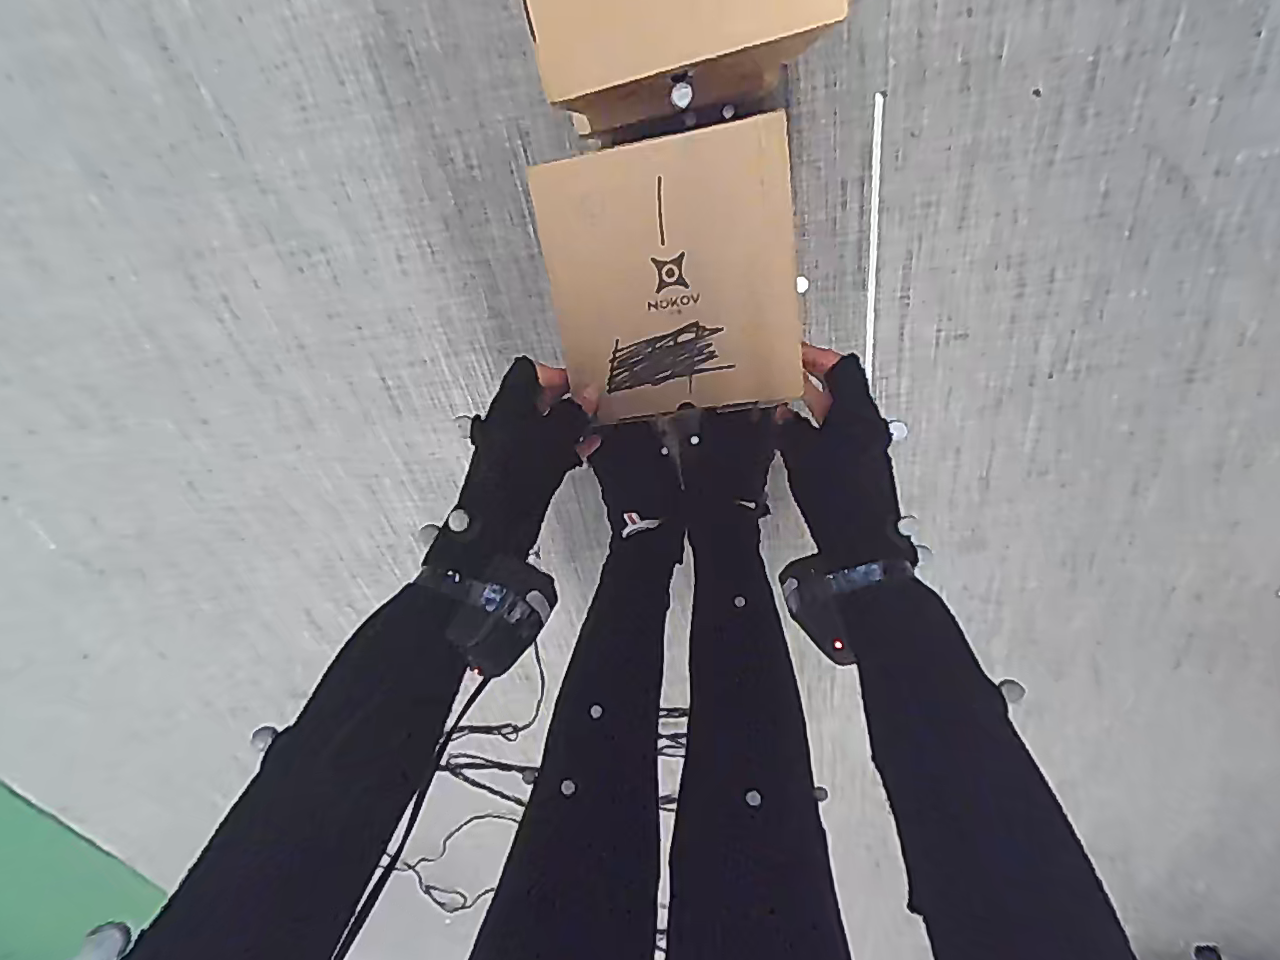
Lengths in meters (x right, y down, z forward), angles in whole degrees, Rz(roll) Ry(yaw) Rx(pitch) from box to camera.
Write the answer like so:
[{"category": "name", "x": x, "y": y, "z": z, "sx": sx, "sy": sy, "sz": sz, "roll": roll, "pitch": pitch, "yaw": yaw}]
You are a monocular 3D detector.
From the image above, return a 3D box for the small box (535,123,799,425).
[{"category": "small box", "x": 0.034, "y": -0.156, "z": 0.440, "sx": 0.168, "sy": 0.176, "sz": 0.179, "roll": -6, "pitch": 109, "yaw": 11}]

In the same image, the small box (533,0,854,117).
[{"category": "small box", "x": 0.024, "y": -0.348, "z": 0.342, "sx": 0.179, "sy": 0.176, "sz": 0.168, "roll": -8, "pitch": 121, "yaw": 11}]
